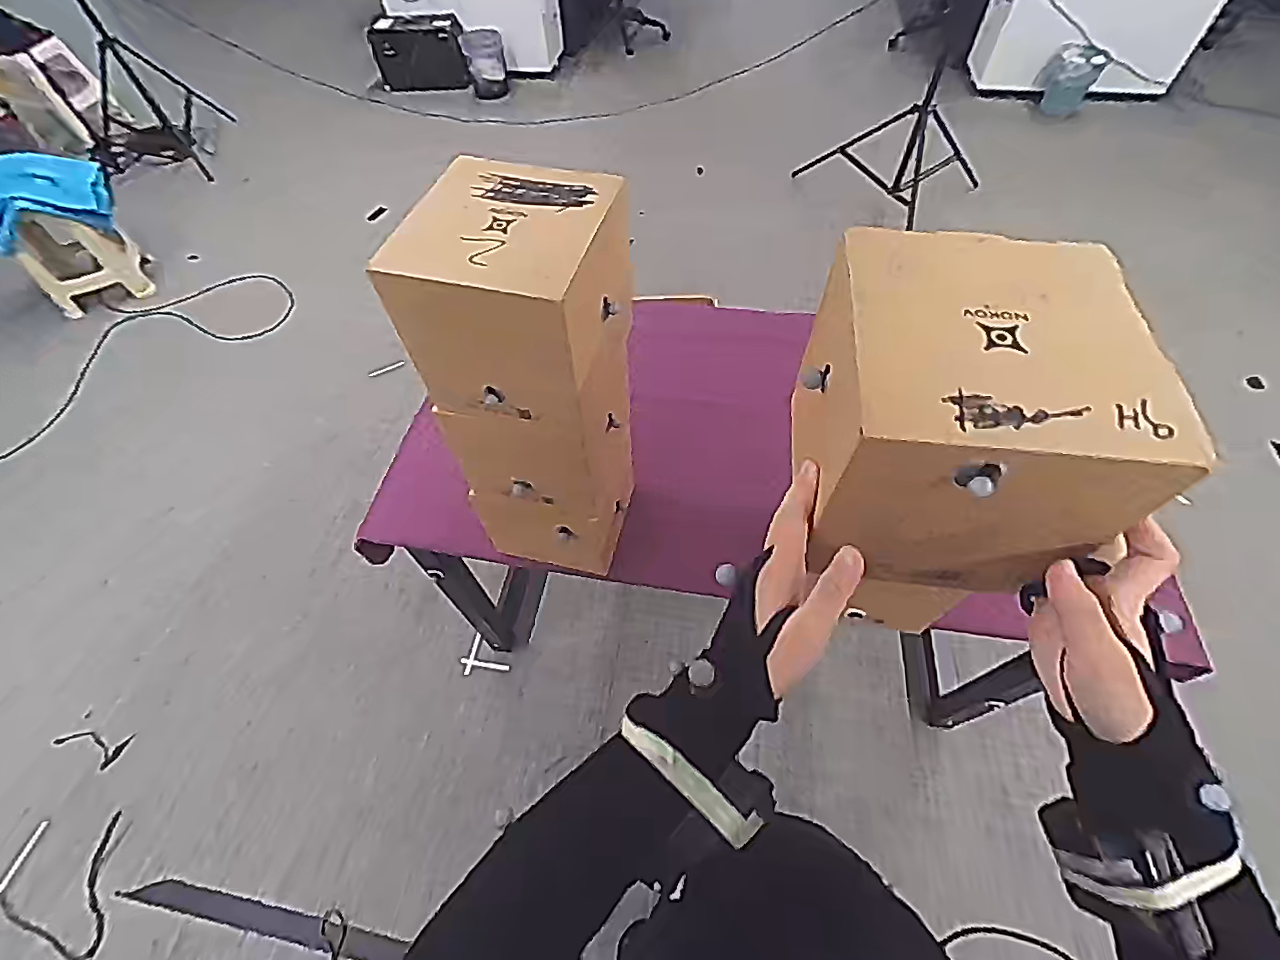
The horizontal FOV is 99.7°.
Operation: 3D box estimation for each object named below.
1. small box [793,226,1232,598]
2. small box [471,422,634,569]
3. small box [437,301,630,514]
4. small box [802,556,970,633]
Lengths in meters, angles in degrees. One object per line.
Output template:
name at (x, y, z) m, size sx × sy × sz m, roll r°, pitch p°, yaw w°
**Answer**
small box at (0.203, -0.040, 0.365) m, size 0.168 × 0.176 × 0.179 m, roll 6°, pitch 58°, yaw 6°
small box at (-0.111, 0.014, 0.786) m, size 0.179 × 0.176 × 0.168 m, roll 11°, pitch 57°, yaw 9°
small box at (-0.111, -0.084, 0.654) m, size 0.168 × 0.176 × 0.179 m, roll 10°, pitch 59°, yaw 9°
small box at (0.316, 0.085, 0.724) m, size 0.168 × 0.176 × 0.179 m, roll 7°, pitch 58°, yaw 8°
